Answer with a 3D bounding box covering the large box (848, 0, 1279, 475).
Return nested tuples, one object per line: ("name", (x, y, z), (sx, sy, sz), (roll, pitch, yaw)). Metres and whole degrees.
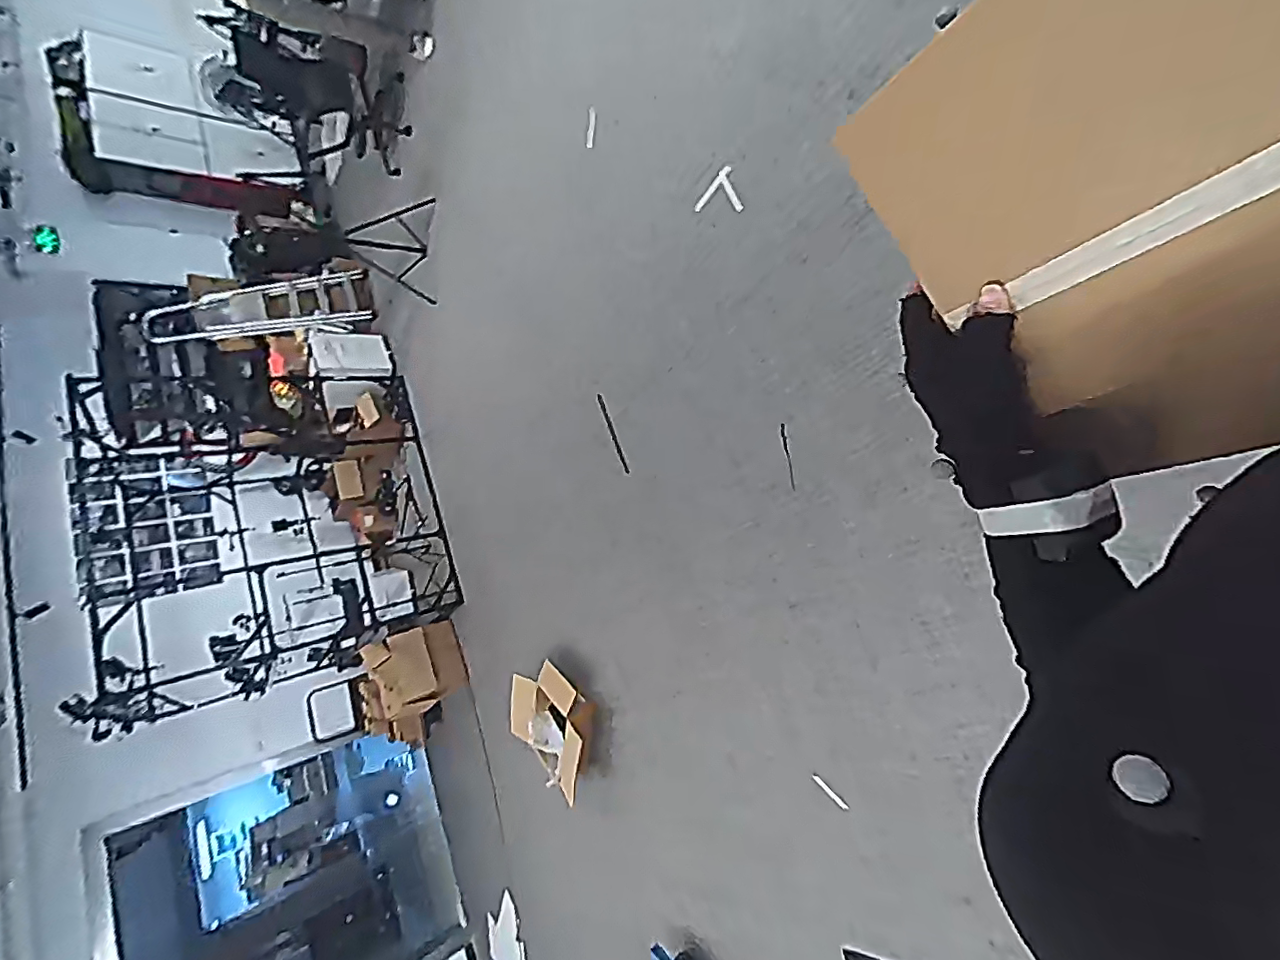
("large box", (0.425, -0.257, 0.330), (0.320, 0.320, 0.408), (51, 145, -9))
